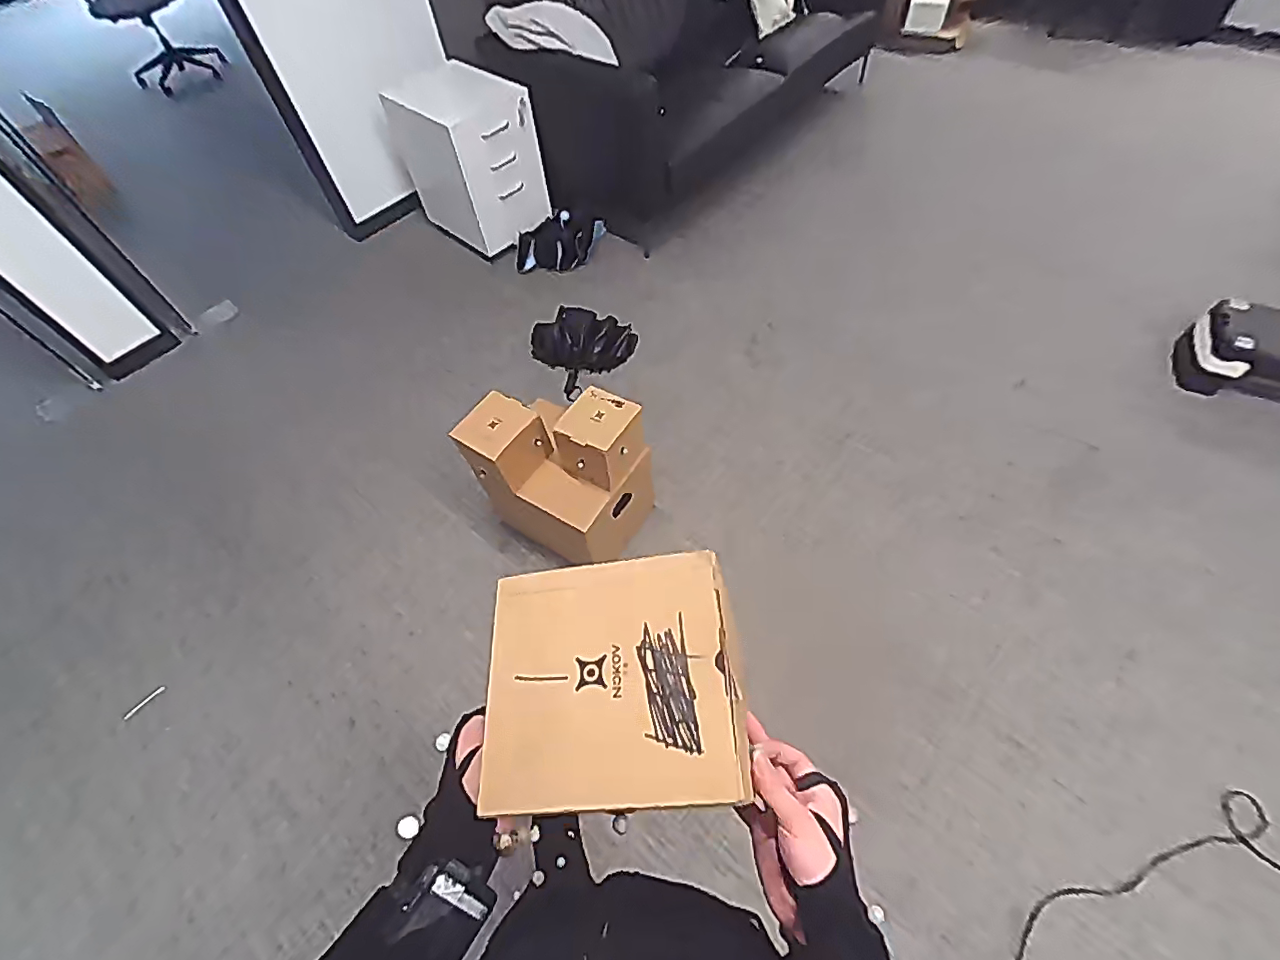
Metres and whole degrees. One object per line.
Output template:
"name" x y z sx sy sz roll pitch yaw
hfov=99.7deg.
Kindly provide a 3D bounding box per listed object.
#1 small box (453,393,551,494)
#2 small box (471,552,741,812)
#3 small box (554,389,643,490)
"small box" -0.359 -0.095 1.455 0.168 0.176 0.179 27 67 22
"small box" -0.013 0.174 0.448 0.179 0.176 0.168 -9 58 10
"small box" -0.100 -0.104 1.435 0.168 0.176 0.179 25 61 20
